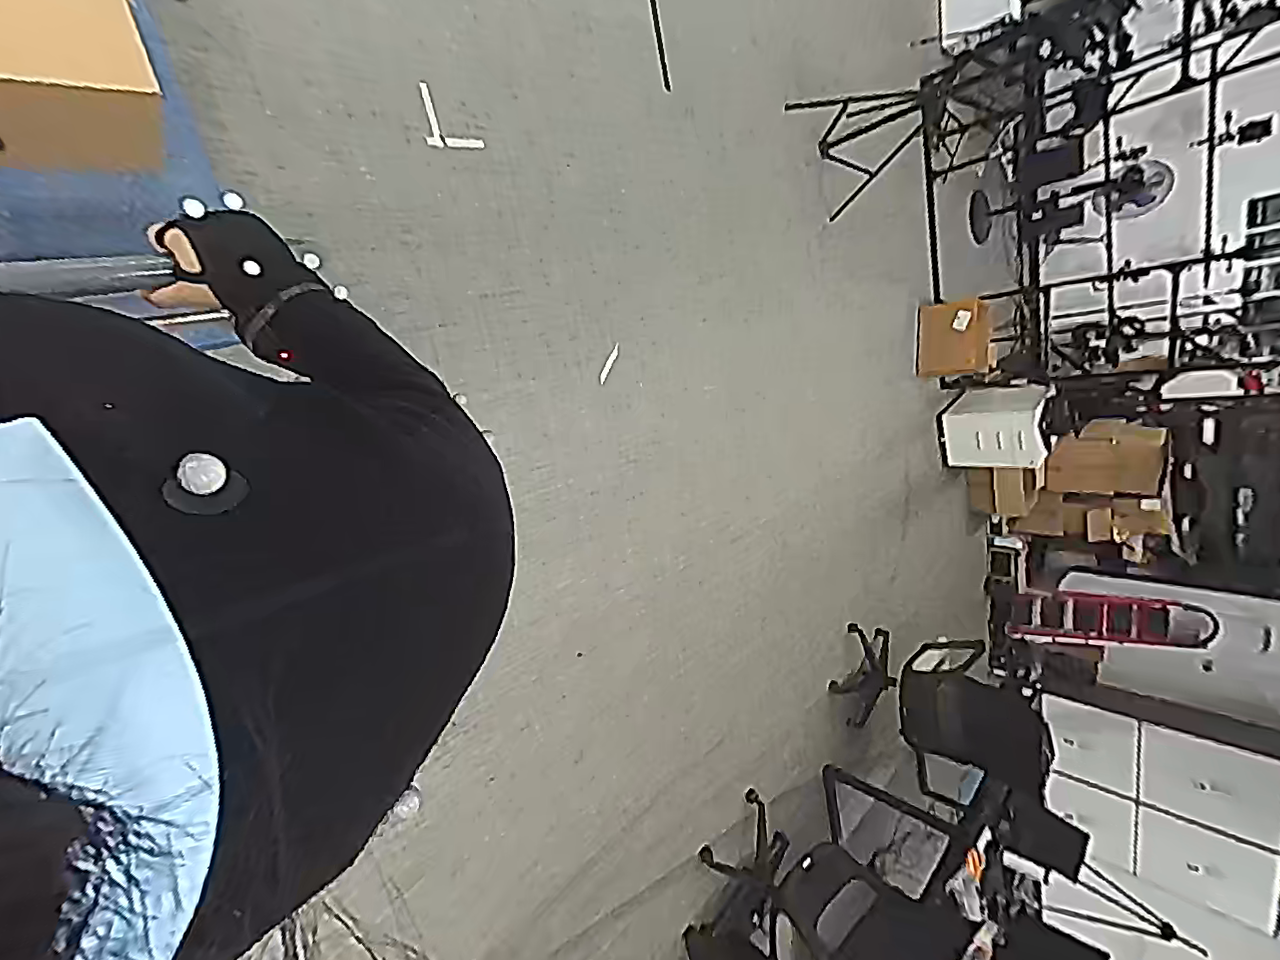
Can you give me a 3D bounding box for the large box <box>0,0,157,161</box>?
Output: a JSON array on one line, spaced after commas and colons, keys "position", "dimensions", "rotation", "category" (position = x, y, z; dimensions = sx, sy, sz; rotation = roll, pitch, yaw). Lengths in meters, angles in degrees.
[{"position": [-0.967, -0.654, 0.727], "dimensions": [0.408, 0.320, 0.320], "rotation": [-24, 108, -37], "category": "large box"}]
